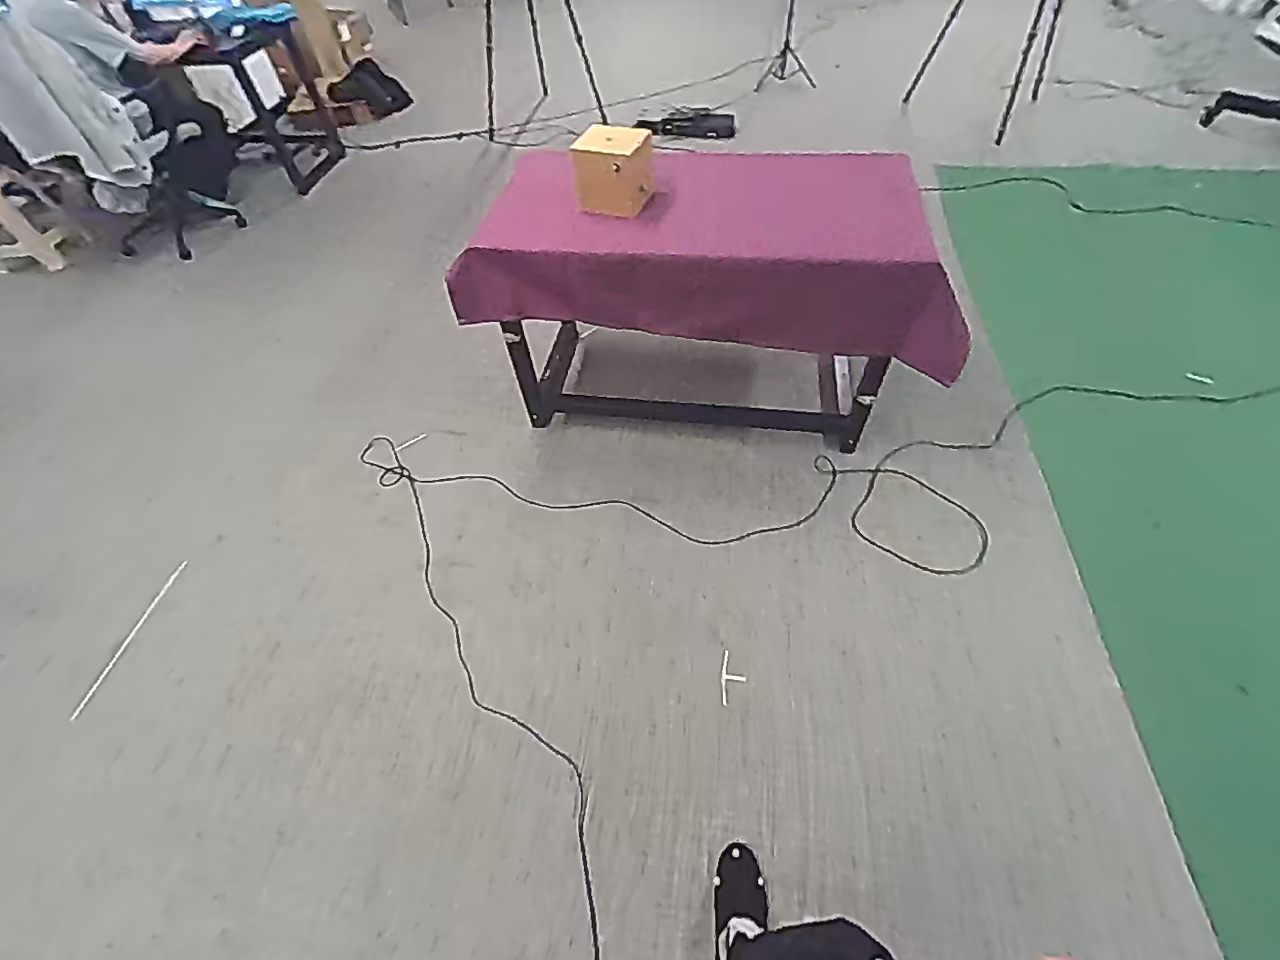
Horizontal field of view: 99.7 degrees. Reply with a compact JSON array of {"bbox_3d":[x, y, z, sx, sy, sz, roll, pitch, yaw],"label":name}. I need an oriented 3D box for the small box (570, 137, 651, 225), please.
[{"bbox_3d":[-0.077,-0.849,1.537,0.179,0.176,0.168,15,54,14],"label":"small box"}]
